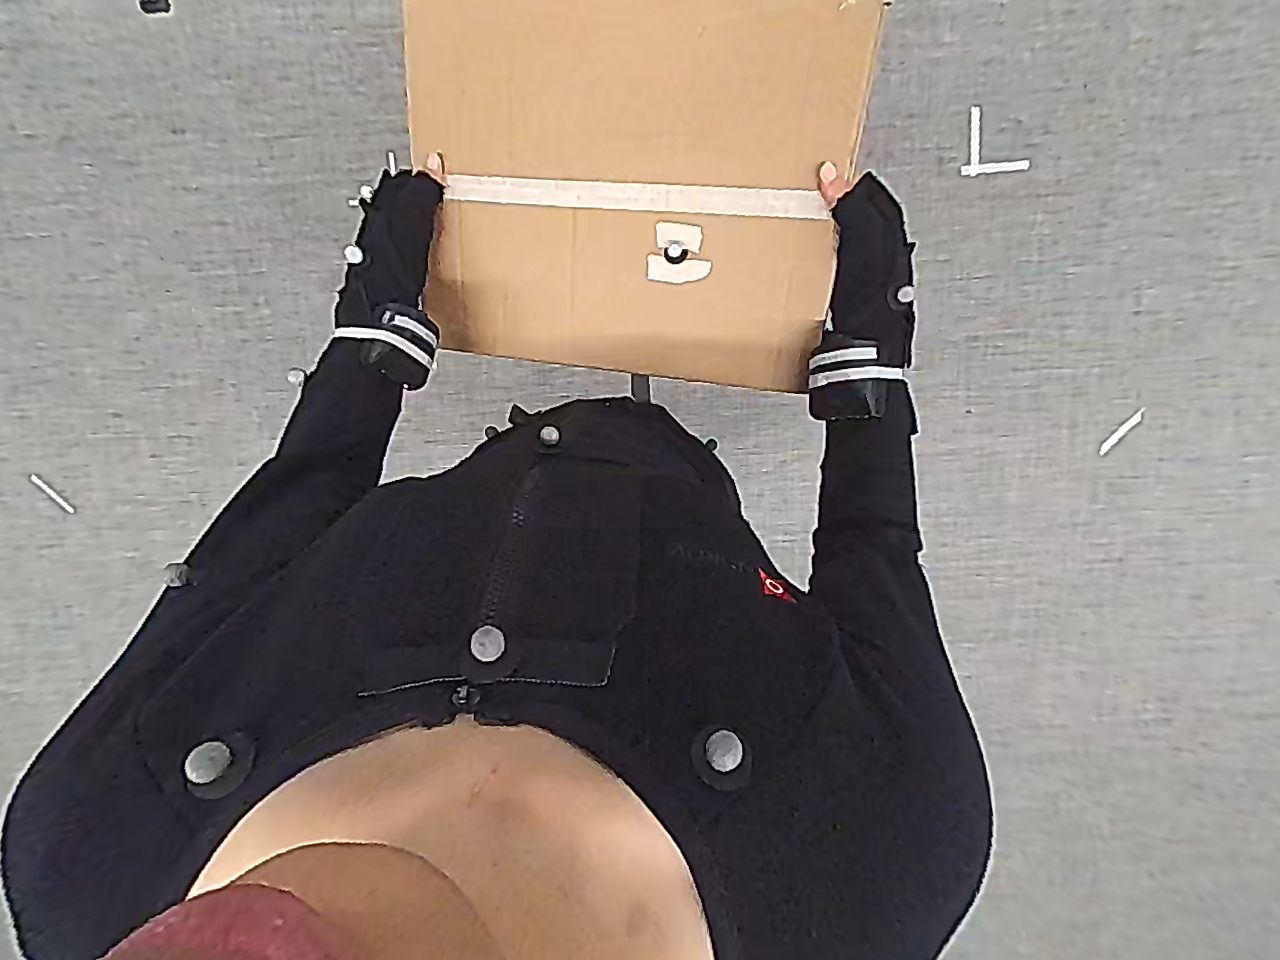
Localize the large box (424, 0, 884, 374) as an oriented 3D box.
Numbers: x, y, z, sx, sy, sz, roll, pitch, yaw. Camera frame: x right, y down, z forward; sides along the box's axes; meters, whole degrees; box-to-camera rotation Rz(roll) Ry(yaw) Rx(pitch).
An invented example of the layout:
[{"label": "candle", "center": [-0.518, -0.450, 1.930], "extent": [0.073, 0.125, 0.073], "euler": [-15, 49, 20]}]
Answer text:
[{"label": "large box", "center": [0.019, -0.316, 0.637], "extent": [0.408, 0.320, 0.320], "euler": [9, 111, 11]}]
